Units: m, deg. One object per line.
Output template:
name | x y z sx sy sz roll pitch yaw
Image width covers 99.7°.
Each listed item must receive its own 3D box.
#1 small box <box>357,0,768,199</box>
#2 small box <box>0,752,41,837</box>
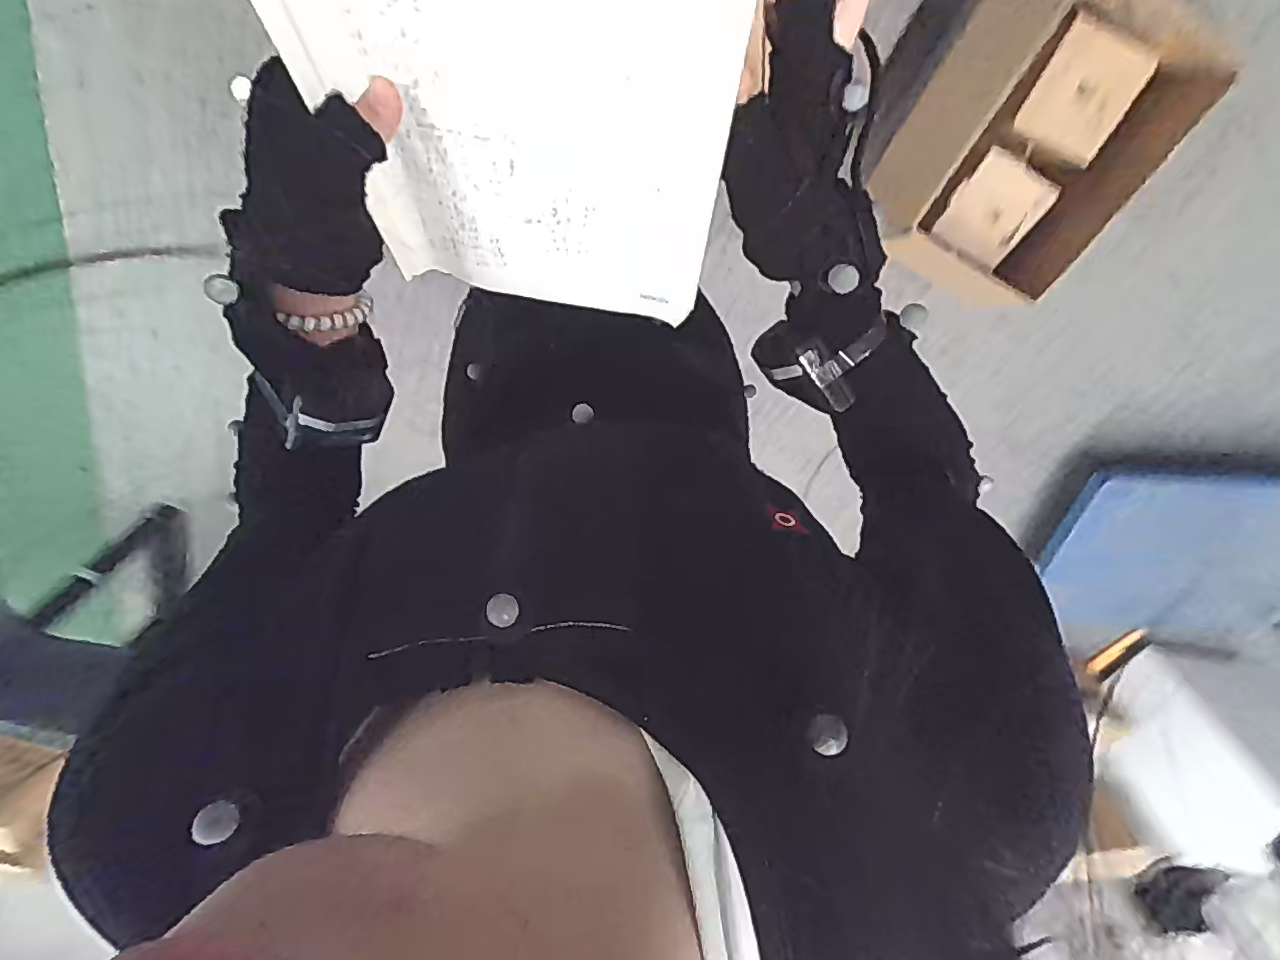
small box | -0.028 -0.272 0.261 0.179 0.176 0.168 -1 159 11
small box | -1.498 0.719 1.200 0.168 0.176 0.179 25 122 -16
